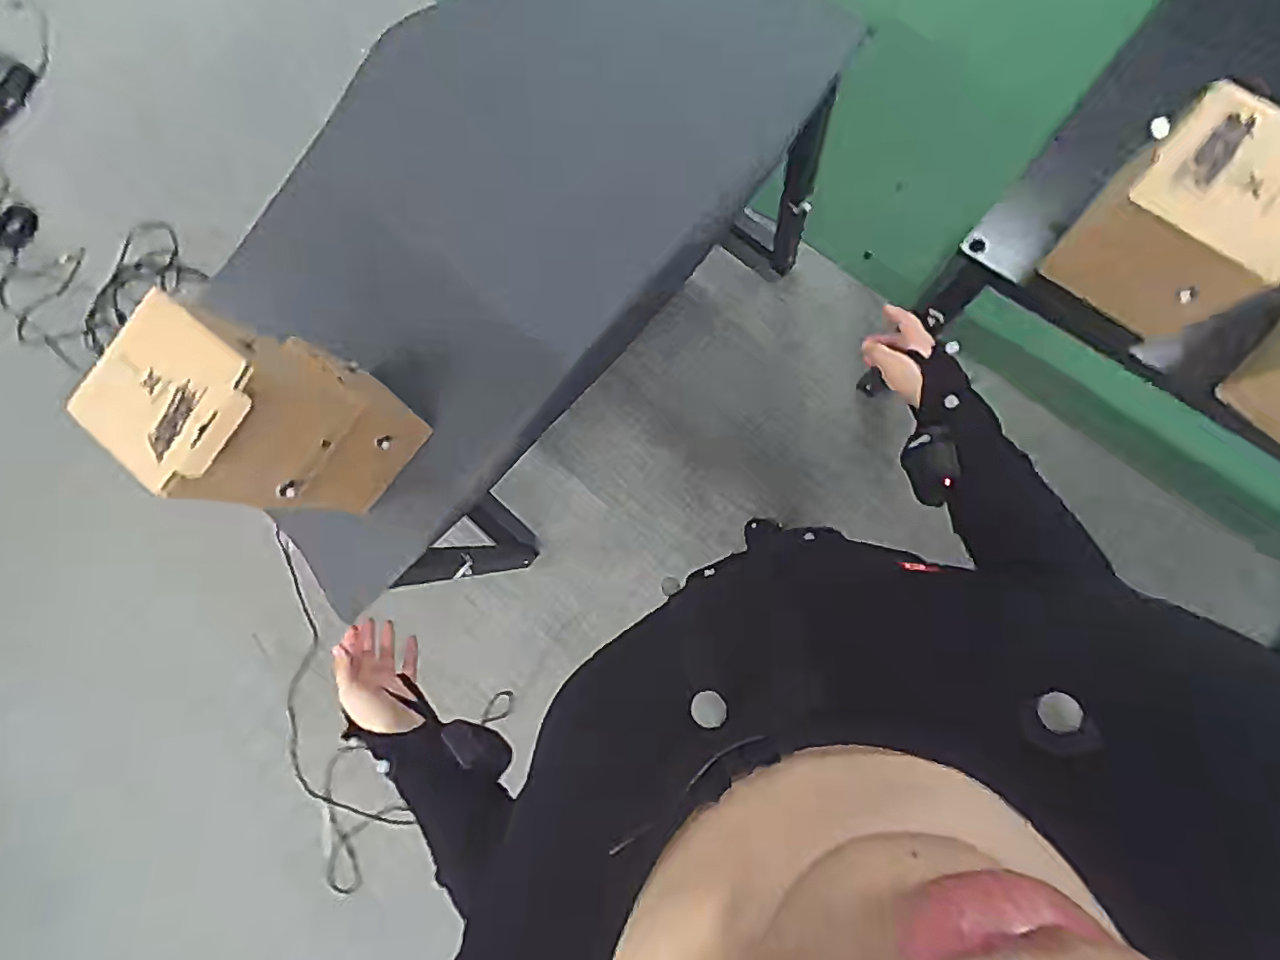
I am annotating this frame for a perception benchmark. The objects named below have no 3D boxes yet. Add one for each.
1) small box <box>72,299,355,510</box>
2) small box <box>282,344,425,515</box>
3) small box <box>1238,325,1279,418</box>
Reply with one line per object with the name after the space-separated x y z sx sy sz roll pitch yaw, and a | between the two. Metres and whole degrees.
-0.490 -0.076 0.647 0.179 0.176 0.168 34 89 14 | small box
-0.456 -0.065 0.808 0.168 0.176 0.179 38 92 13 | small box
0.848 -0.138 0.597 0.168 0.176 0.179 43 92 10 | small box
